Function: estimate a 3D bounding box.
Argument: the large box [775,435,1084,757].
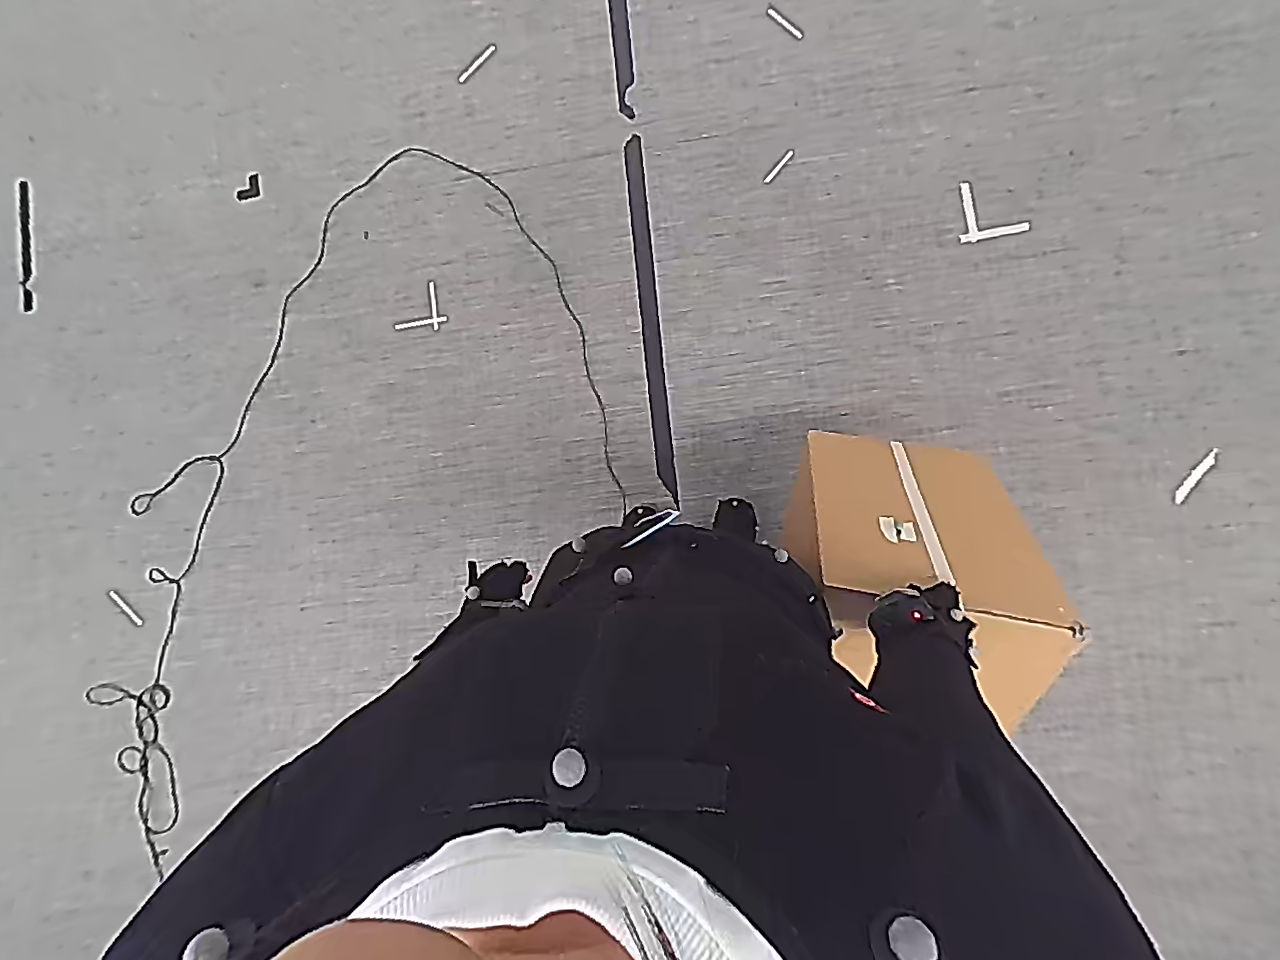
[{"bbox_3d":[0.416,0.173,0.915,0.320,0.408,0.320,8,127,8],"label":"large box"}]
